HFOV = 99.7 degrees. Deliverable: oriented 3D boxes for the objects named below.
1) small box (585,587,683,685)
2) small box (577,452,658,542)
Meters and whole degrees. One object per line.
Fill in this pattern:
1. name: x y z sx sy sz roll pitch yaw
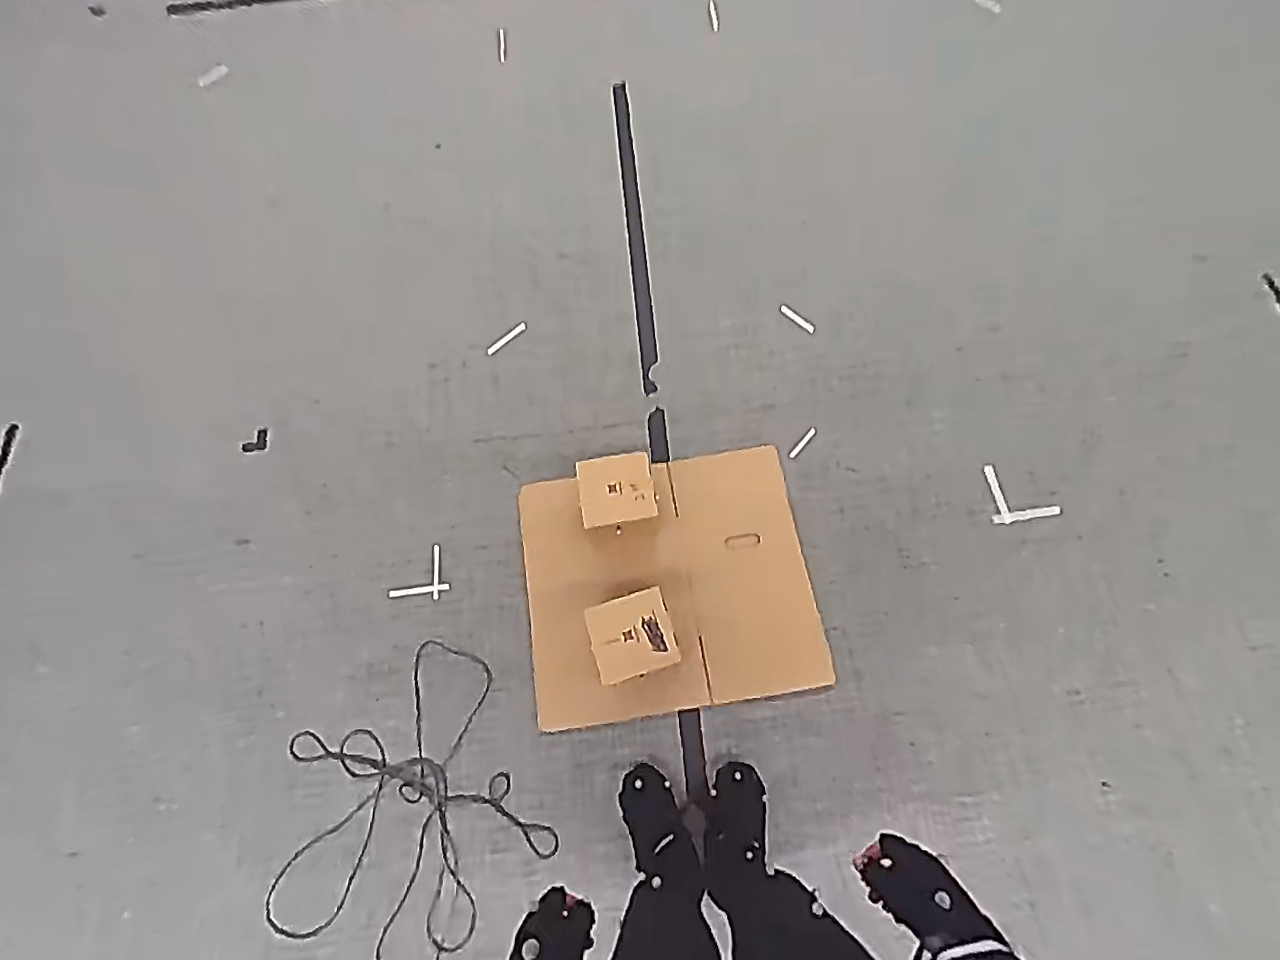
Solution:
1. small box: -0.013 0.354 1.230 0.179 0.176 0.168 -17 71 -3
2. small box: -0.052 0.048 1.337 0.179 0.176 0.168 -9 71 -2
